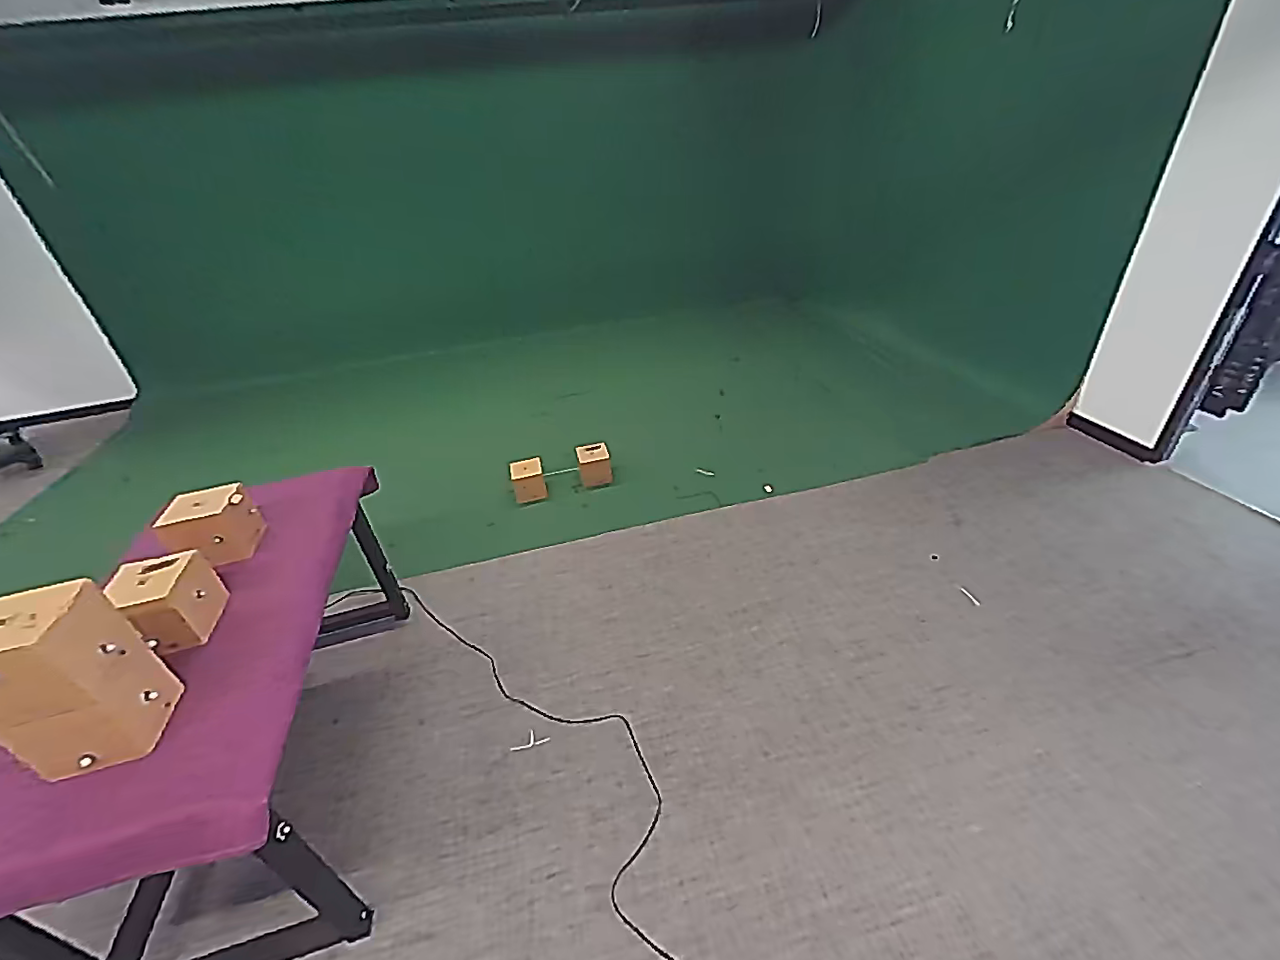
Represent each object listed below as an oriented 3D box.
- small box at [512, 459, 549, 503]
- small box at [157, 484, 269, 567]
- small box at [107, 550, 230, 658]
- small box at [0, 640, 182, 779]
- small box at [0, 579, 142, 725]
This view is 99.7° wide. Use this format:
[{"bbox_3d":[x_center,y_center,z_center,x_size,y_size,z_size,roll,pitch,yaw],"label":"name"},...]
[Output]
[{"bbox_3d":[-0.600,0.012,2.972,0.168,0.176,0.179,-13,33,-9],"label":"small box"},{"bbox_3d":[-1.227,0.139,1.573,0.179,0.176,0.168,-13,34,-9],"label":"small box"},{"bbox_3d":[-1.143,0.302,1.311,0.168,0.176,0.179,-13,35,-10],"label":"small box"},{"bbox_3d":[-1.070,0.452,1.072,0.179,0.176,0.168,-12,33,-10],"label":"small box"},{"bbox_3d":[-1.083,0.314,0.984,0.179,0.176,0.168,-13,35,-11],"label":"small box"}]
